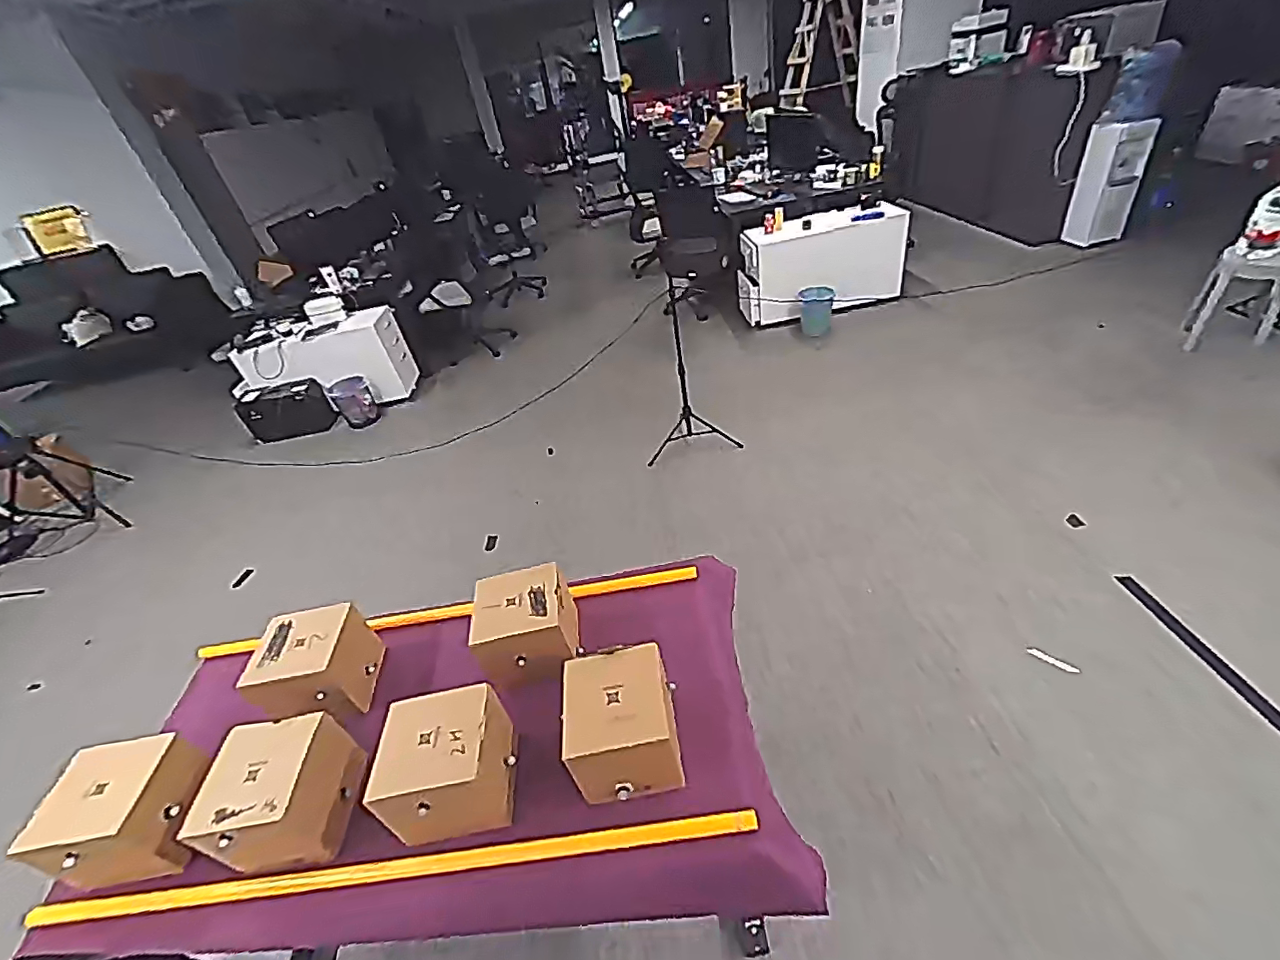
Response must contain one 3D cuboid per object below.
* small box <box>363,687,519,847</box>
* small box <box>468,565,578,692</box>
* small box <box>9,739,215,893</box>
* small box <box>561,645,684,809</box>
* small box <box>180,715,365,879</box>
[{"bbox_3d":[-0.318,0.480,0.902,0.179,0.176,0.168,-12,36,1],"label":"small box"},{"bbox_3d":[-0.228,0.305,1.104,0.179,0.176,0.168,-14,38,1],"label":"small box"},{"bbox_3d":[-0.875,0.581,0.934,0.179,0.176,0.168,-11,36,2],"label":"small box"},{"bbox_3d":[-0.028,0.411,0.905,0.168,0.176,0.179,-13,35,2],"label":"small box"},{"bbox_3d":[-0.599,0.535,0.914,0.168,0.176,0.179,-12,36,3],"label":"small box"}]
